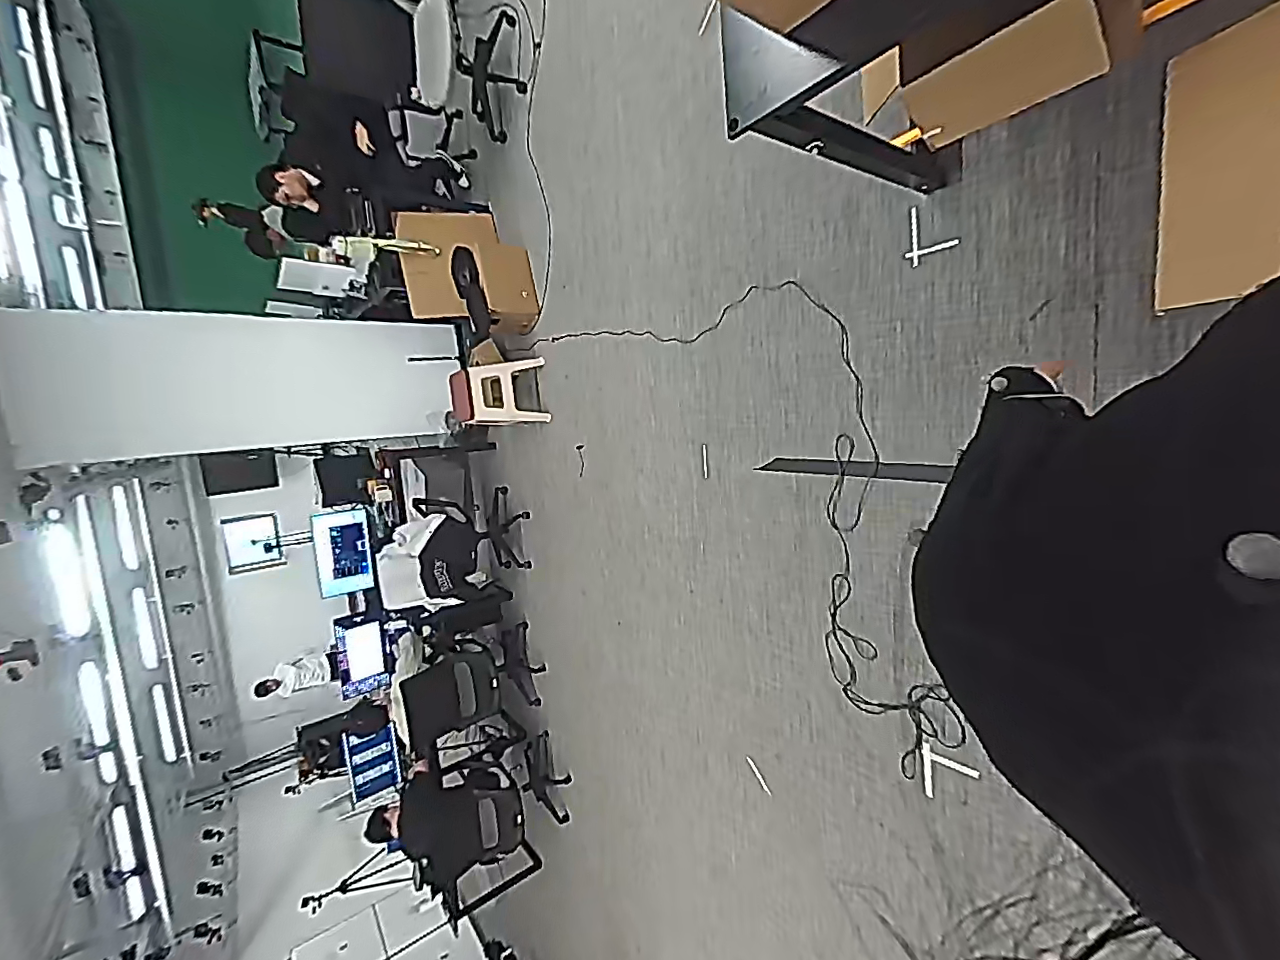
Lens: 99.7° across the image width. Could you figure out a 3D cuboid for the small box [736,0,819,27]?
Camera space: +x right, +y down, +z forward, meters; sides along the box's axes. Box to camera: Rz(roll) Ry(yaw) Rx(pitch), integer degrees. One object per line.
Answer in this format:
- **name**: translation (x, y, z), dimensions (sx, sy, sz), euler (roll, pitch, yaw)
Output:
- **small box**: translation (0.210, -0.791, 0.756), dimensions (0.179, 0.176, 0.168), euler (5, 103, 52)
